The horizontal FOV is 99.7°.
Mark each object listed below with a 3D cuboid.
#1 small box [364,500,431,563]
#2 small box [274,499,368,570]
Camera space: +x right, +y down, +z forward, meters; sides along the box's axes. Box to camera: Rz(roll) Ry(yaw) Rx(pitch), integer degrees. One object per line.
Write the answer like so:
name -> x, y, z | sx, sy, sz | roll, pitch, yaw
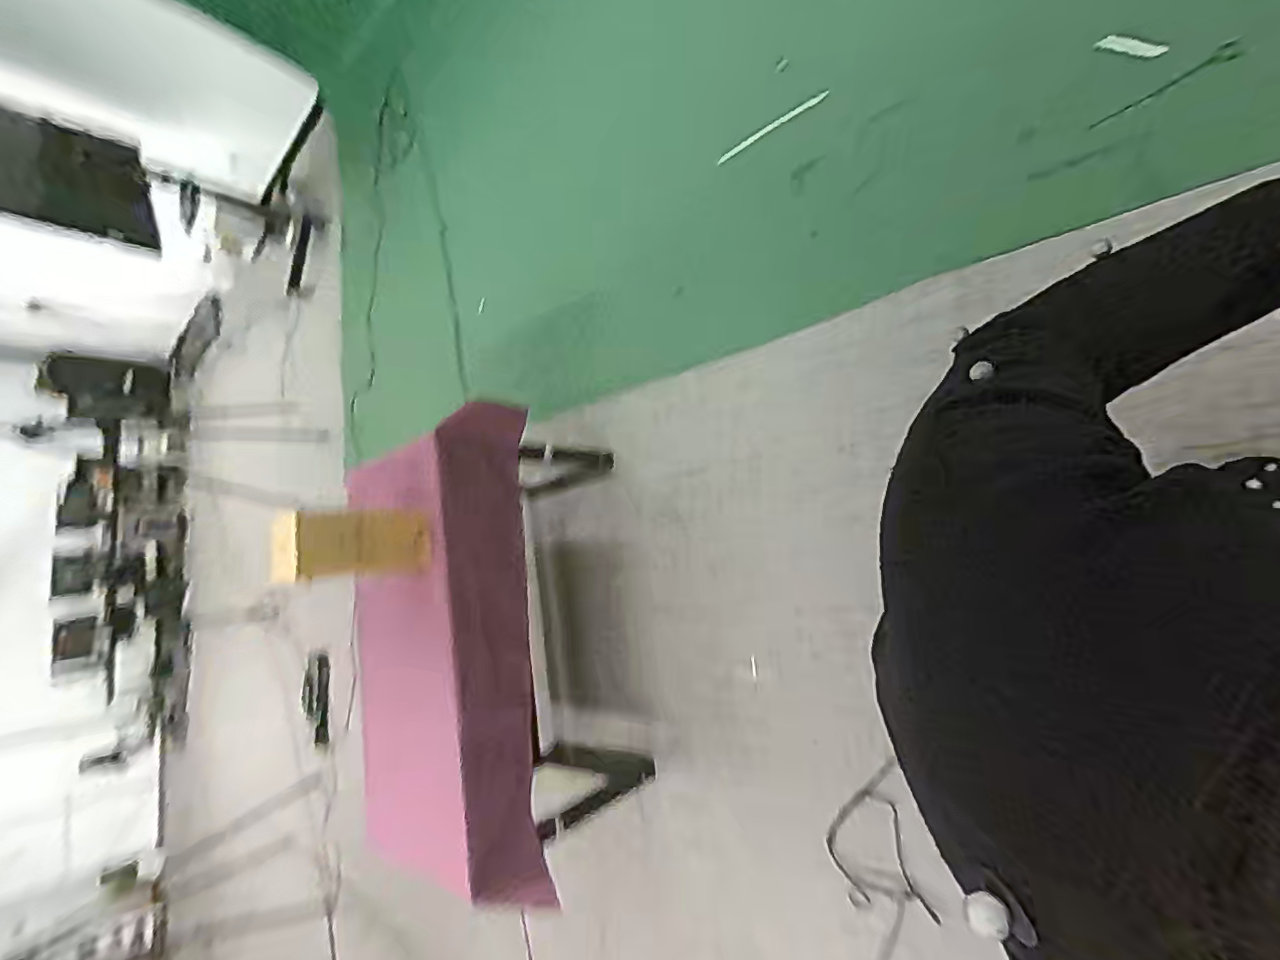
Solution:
small box -> -0.702, 0.144, 1.501 | 0.179, 0.176, 0.168 | -8, 83, 40
small box -> -0.809, 0.137, 1.376 | 0.179, 0.176, 0.168 | -10, 81, 40
